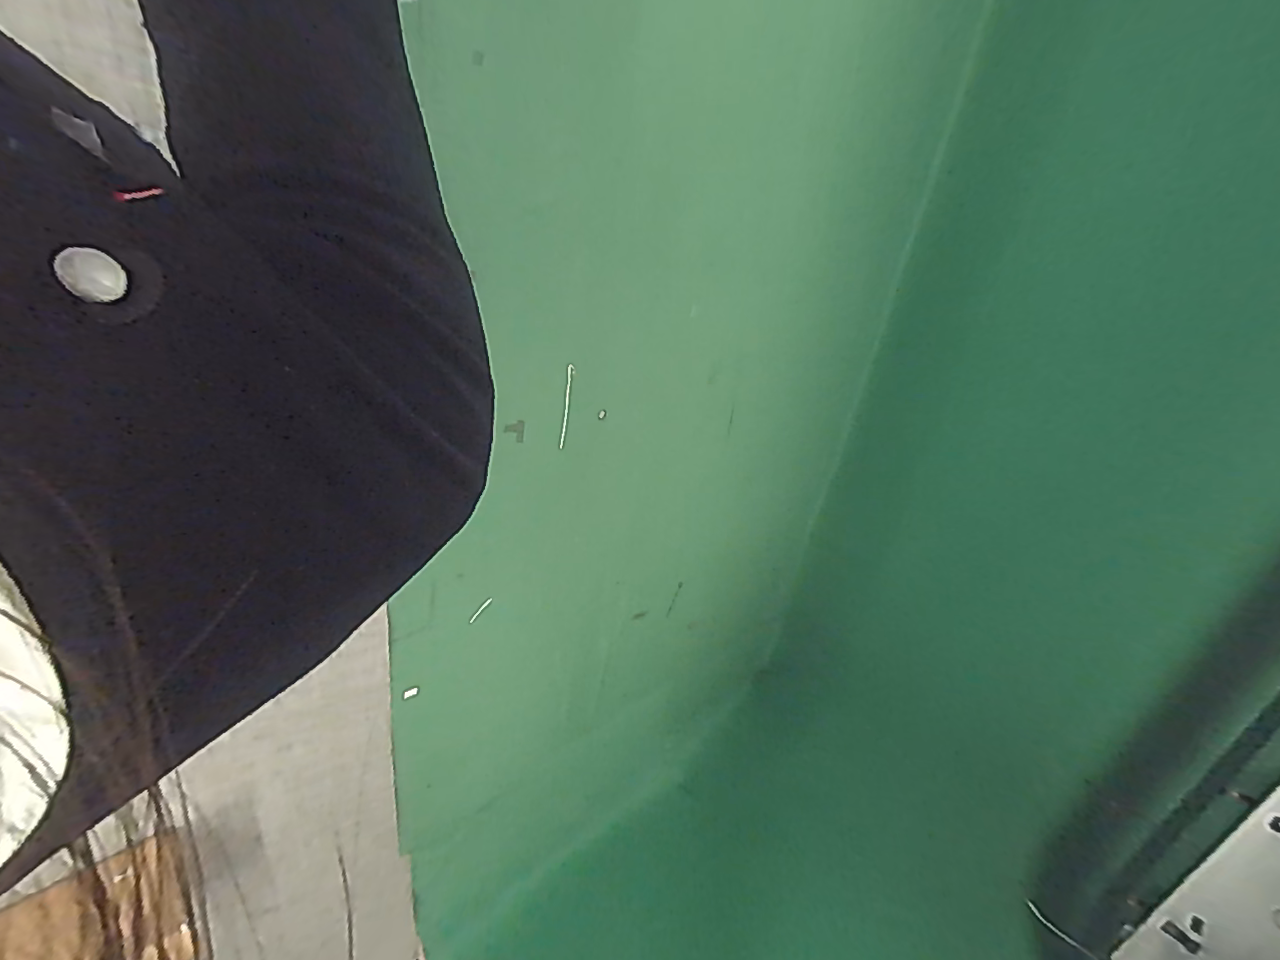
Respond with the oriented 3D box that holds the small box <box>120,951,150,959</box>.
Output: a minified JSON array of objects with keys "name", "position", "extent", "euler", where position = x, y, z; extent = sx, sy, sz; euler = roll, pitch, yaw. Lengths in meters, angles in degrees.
[{"name":"small box","position":[-1.224,1.250,1.245],"extent":[0.168,0.176,0.179],"euler":[-20,127,-40]}]
